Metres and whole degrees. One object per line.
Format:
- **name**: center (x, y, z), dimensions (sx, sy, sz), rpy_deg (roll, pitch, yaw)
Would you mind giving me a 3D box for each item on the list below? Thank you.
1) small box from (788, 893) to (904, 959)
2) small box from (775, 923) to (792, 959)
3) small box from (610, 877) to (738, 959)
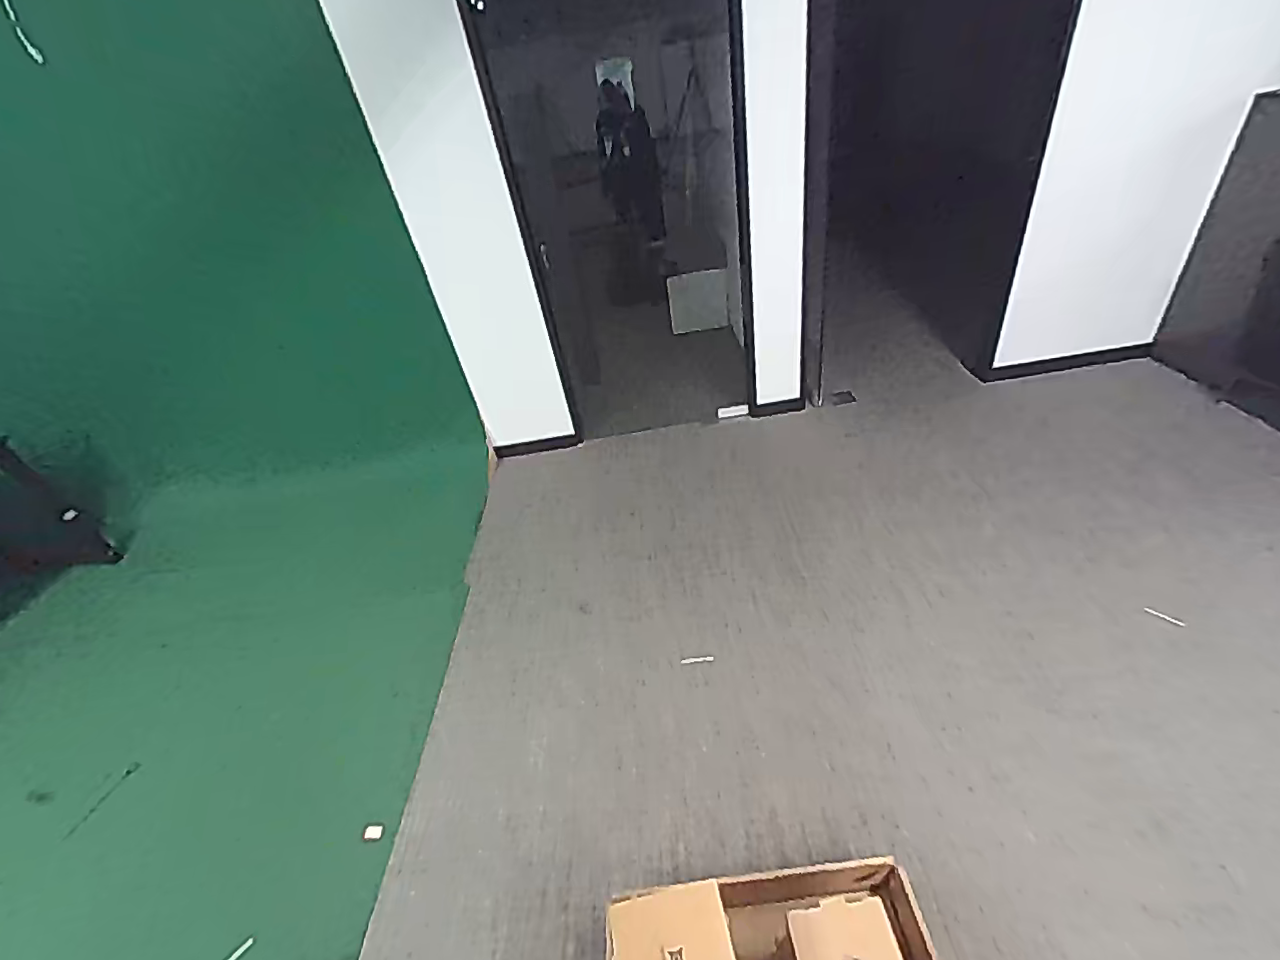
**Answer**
- **small box**: center (0.350, 0.832, 0.903), dimensions (0.168, 0.176, 0.179), rpy_deg (-11, 36, 2)
- **small box**: center (0.368, 0.948, 1.020), dimensions (0.179, 0.176, 0.168), rpy_deg (-13, 37, -1)
- **small box**: center (0.061, 0.743, 0.825), dimensions (0.179, 0.176, 0.168), rpy_deg (-13, 38, -2)
